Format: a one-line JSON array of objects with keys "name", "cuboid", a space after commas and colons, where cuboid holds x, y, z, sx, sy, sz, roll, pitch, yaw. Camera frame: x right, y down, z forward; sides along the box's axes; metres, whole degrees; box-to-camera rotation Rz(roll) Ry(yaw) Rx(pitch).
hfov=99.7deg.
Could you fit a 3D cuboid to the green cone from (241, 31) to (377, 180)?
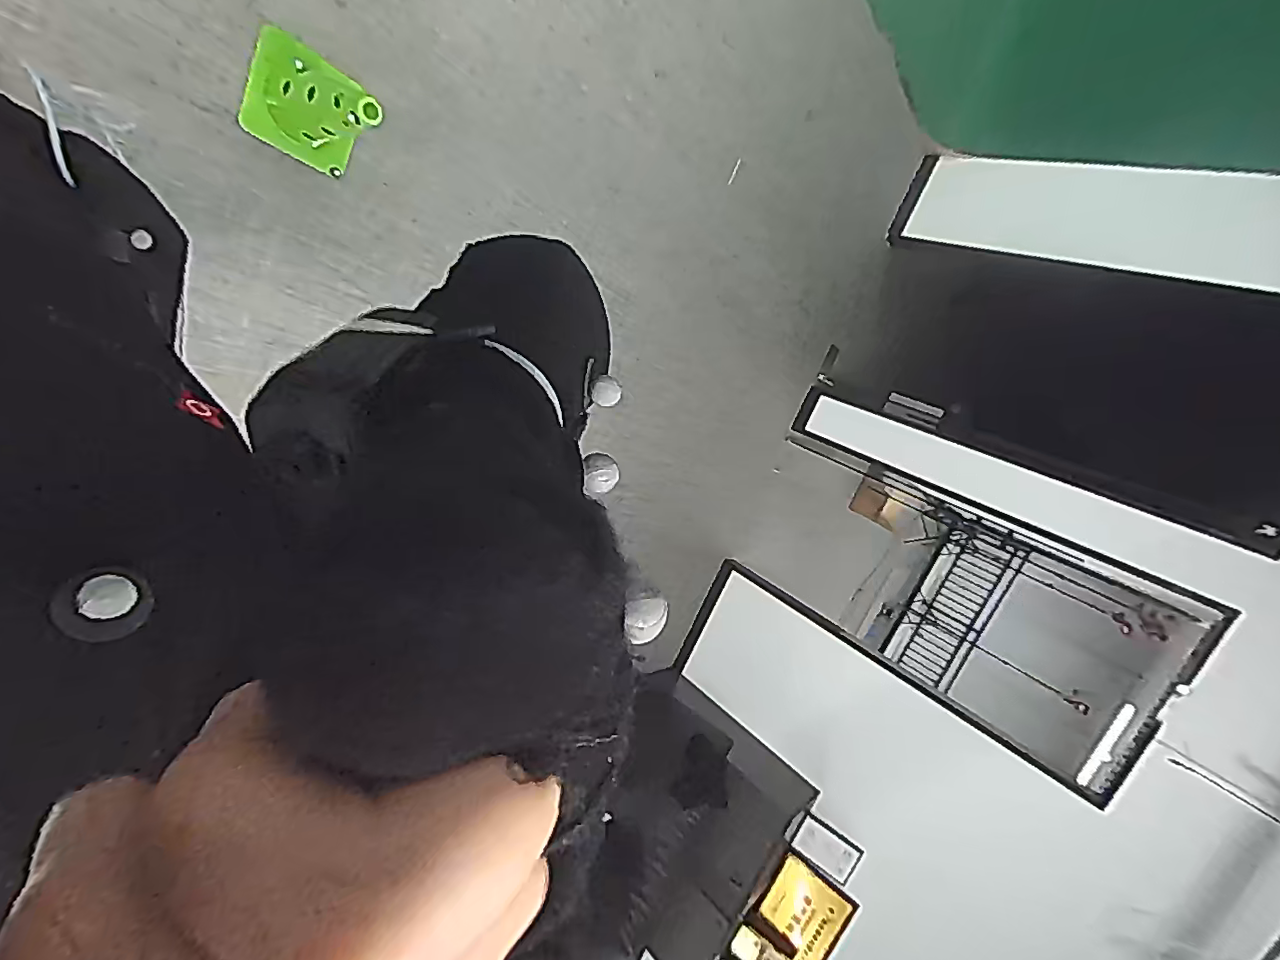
[{"name": "green cone", "cuboid": [-0.577, -0.698, 1.018, 0.202, 0.368, 0.200, 11, 106, -50]}]
